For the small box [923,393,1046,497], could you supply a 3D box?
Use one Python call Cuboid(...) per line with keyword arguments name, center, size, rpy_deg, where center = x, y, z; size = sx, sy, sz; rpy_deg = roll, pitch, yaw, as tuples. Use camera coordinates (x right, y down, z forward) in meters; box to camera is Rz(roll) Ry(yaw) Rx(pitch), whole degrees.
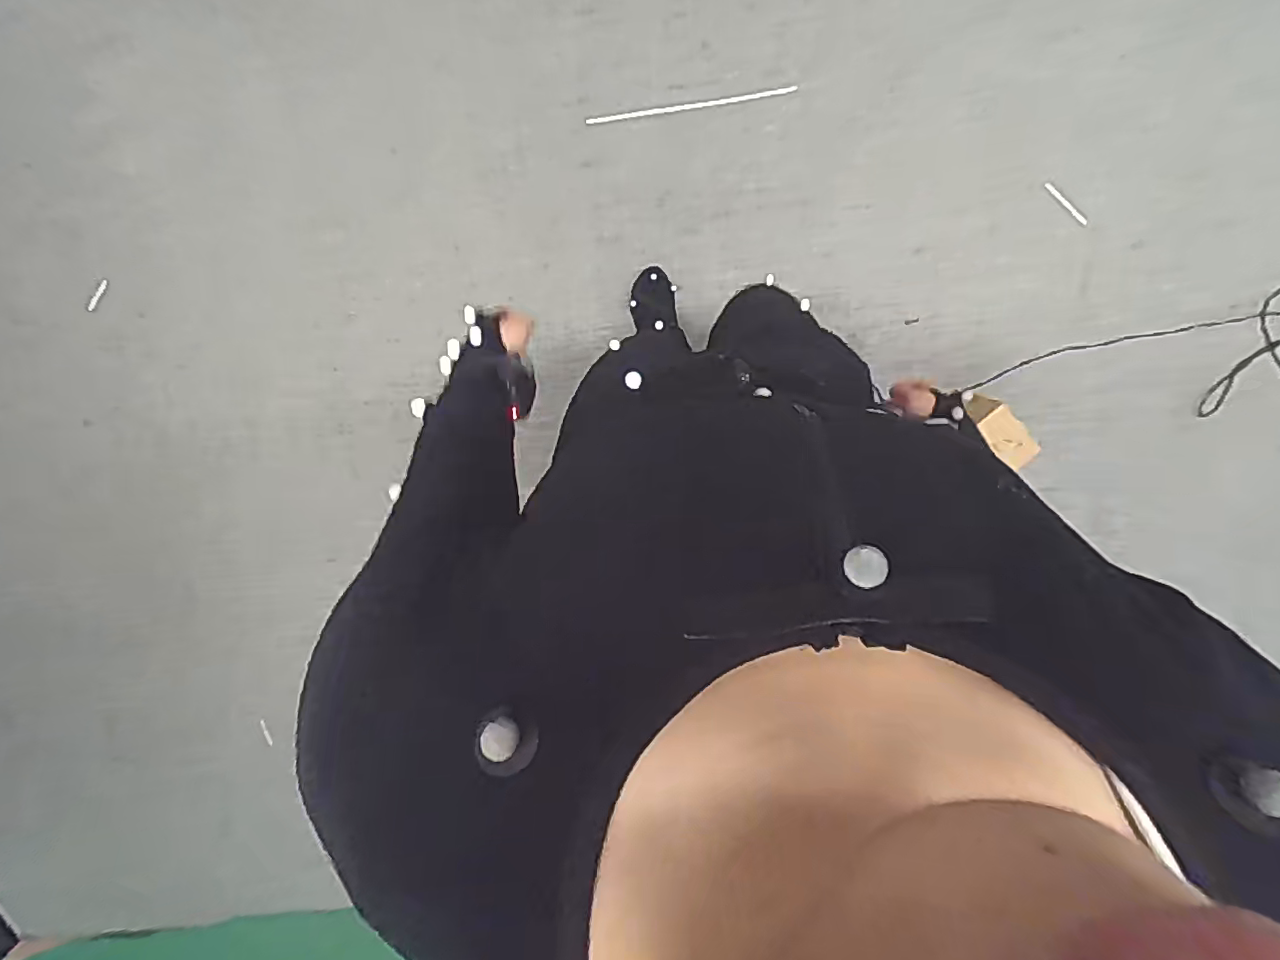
Cuboid(name="small box", center=(0.847, -0.093, 1.358), size=(0.168, 0.176, 0.179), rpy_deg=(43, 104, -12))
